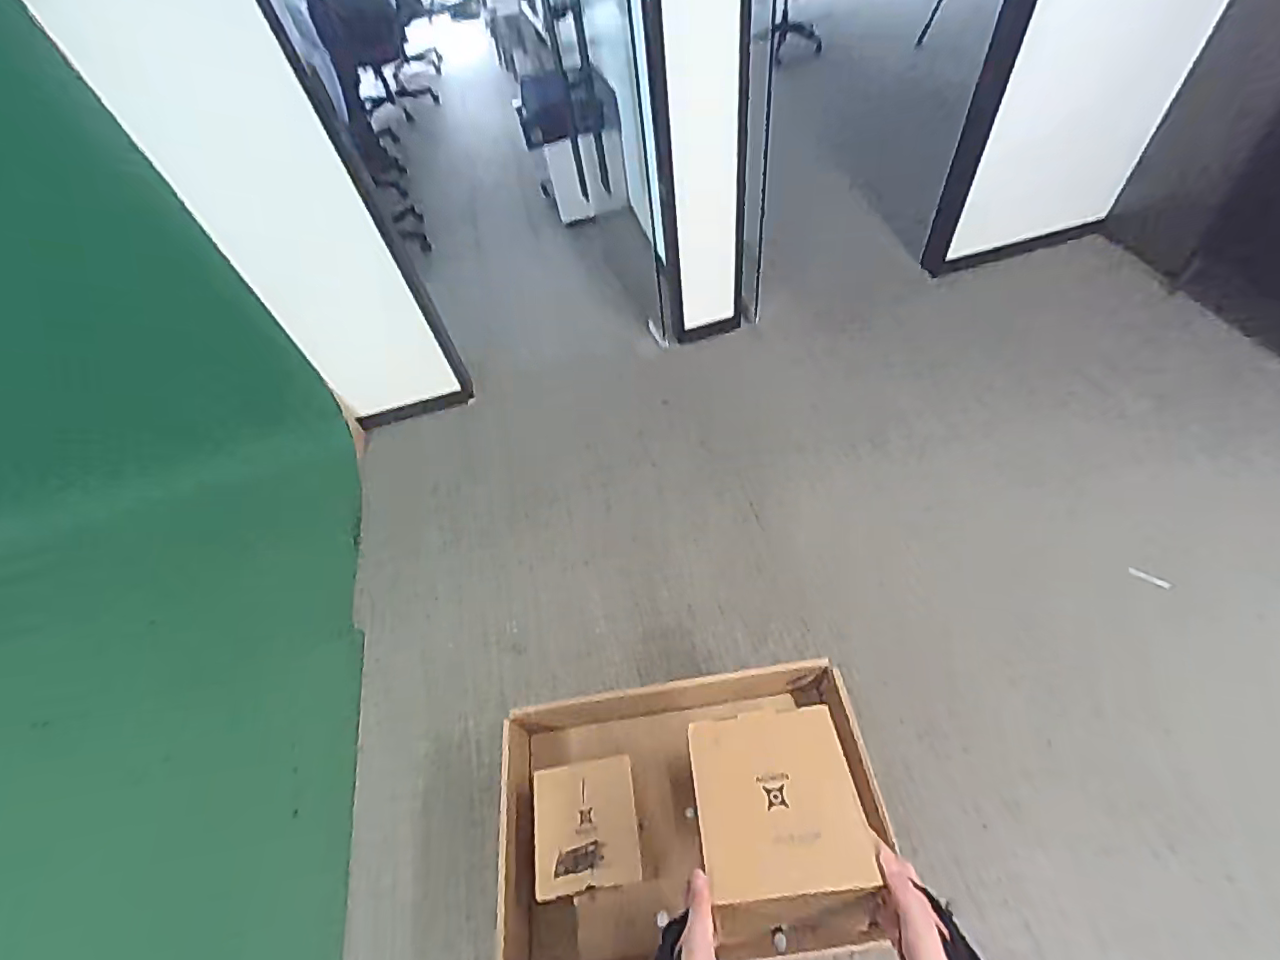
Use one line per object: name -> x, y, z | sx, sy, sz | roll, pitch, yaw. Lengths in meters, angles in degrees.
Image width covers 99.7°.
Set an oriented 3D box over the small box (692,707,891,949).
small box -> 0.150, 0.383, 0.599 | 0.168, 0.176, 0.179 | -7, 39, 2
